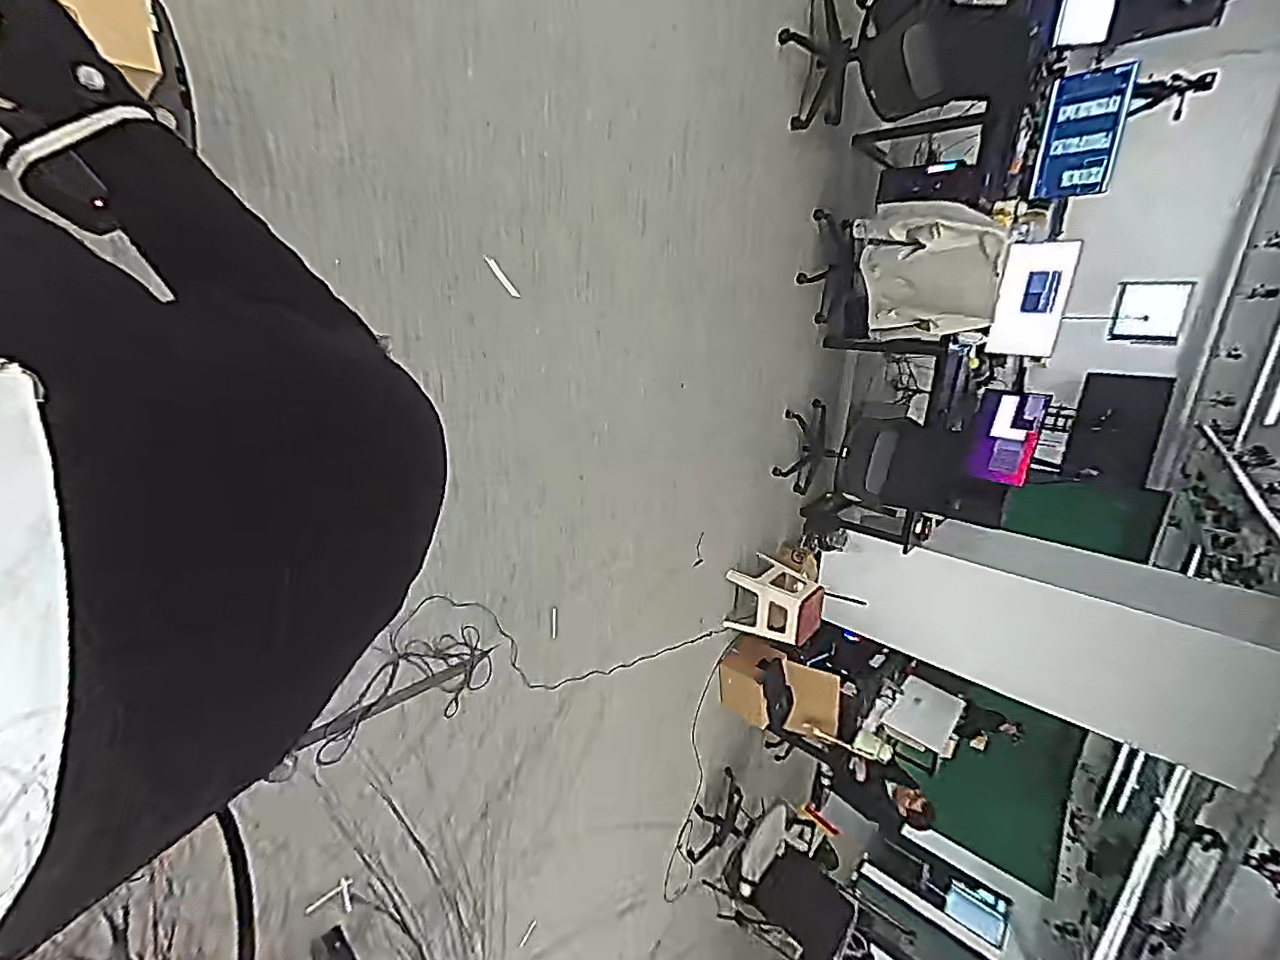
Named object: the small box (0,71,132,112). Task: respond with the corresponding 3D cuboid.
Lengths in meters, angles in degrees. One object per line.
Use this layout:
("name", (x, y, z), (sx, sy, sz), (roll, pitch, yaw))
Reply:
("small box", (-0.854, -0.635, 0.755), (0.168, 0.176, 0.179), (-19, 117, -44))

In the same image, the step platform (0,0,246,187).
("step platform", (-0.916, -0.563, 0.652), (0.684, 0.204, 0.286), (-19, 116, -46))

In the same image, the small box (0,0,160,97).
("small box", (-0.726, -0.603, 0.657), (0.168, 0.176, 0.179), (-19, 118, -44))
